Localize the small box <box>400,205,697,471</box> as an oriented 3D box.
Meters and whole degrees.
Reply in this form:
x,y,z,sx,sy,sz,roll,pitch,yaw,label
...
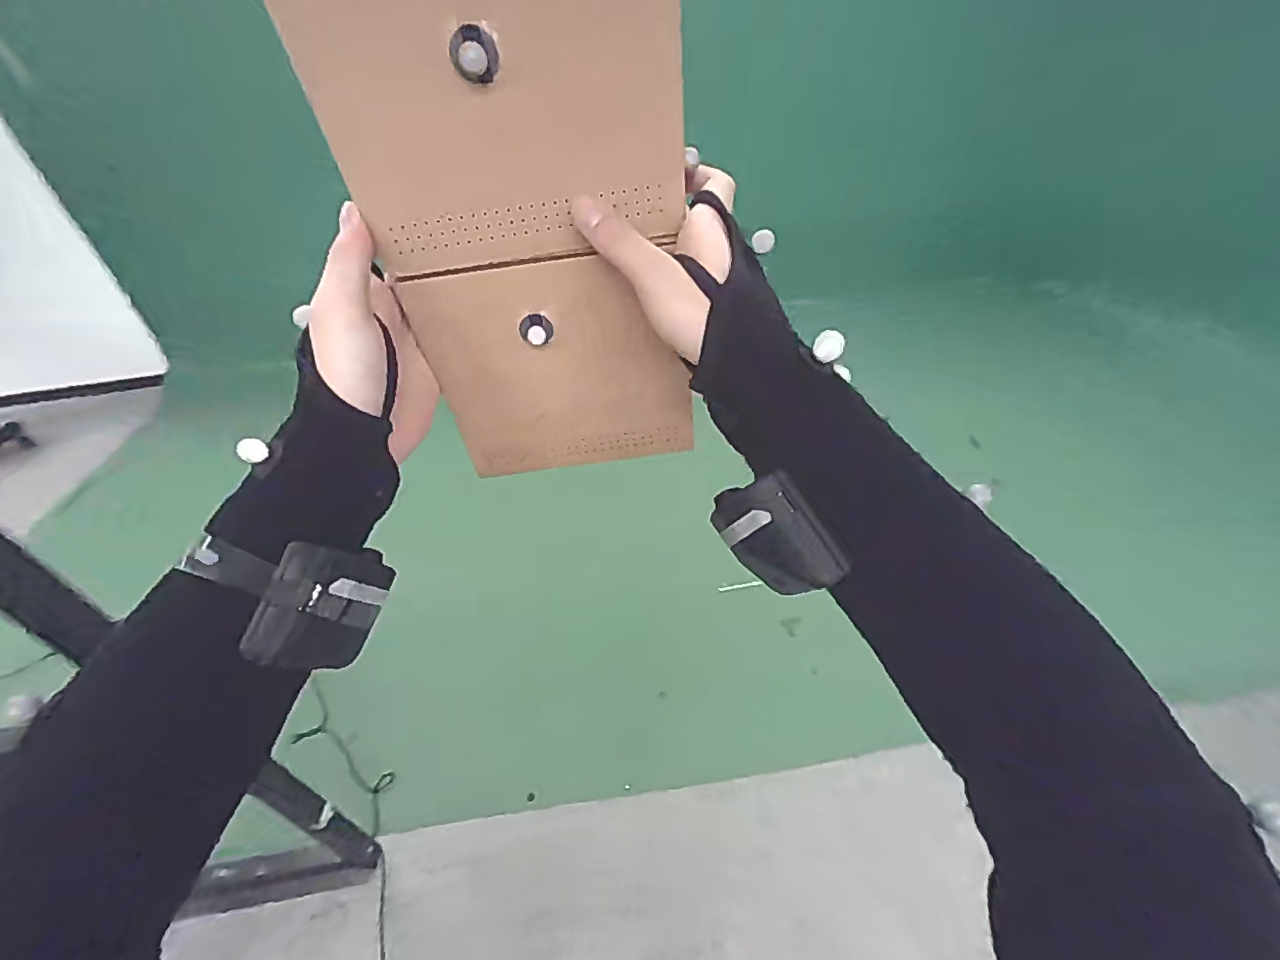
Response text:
x,y,z,sx,sy,sz,roll,pitch,yaw,label
-0.054,-0.123,0.431,0.179,0.176,0.168,-7,46,2,small box

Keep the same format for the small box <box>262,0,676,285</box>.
x,y,z,sx,sy,sz,roll,pitch,yaw,label
-0.077,-0.238,0.315,0.179,0.176,0.168,-11,45,0,small box
